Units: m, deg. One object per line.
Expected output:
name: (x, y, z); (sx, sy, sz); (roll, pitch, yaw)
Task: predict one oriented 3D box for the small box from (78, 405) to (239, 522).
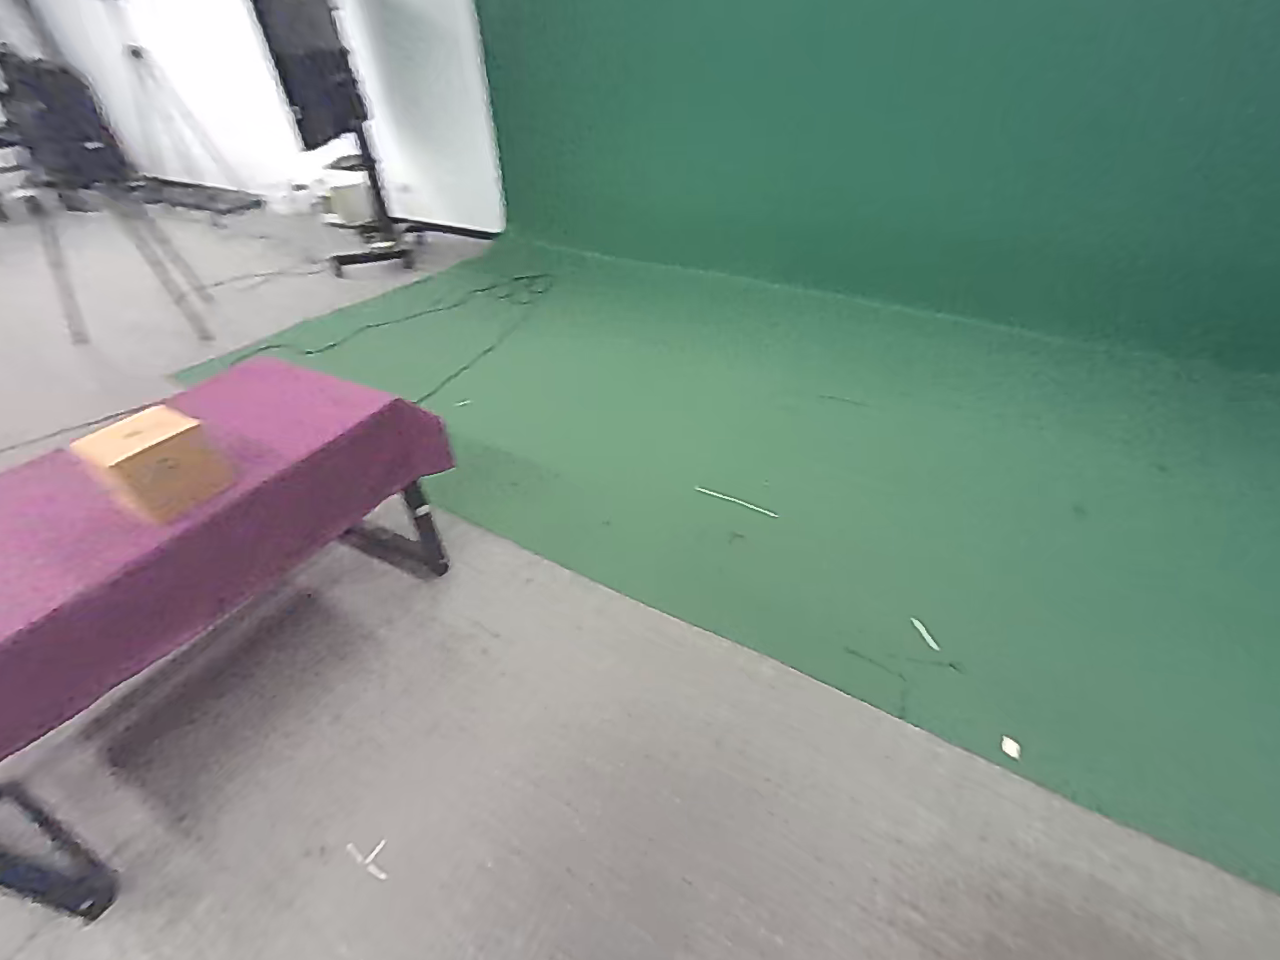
small box: (-1.038, -0.035, 1.181); (0.168, 0.176, 0.179); (19, 43, 22)
